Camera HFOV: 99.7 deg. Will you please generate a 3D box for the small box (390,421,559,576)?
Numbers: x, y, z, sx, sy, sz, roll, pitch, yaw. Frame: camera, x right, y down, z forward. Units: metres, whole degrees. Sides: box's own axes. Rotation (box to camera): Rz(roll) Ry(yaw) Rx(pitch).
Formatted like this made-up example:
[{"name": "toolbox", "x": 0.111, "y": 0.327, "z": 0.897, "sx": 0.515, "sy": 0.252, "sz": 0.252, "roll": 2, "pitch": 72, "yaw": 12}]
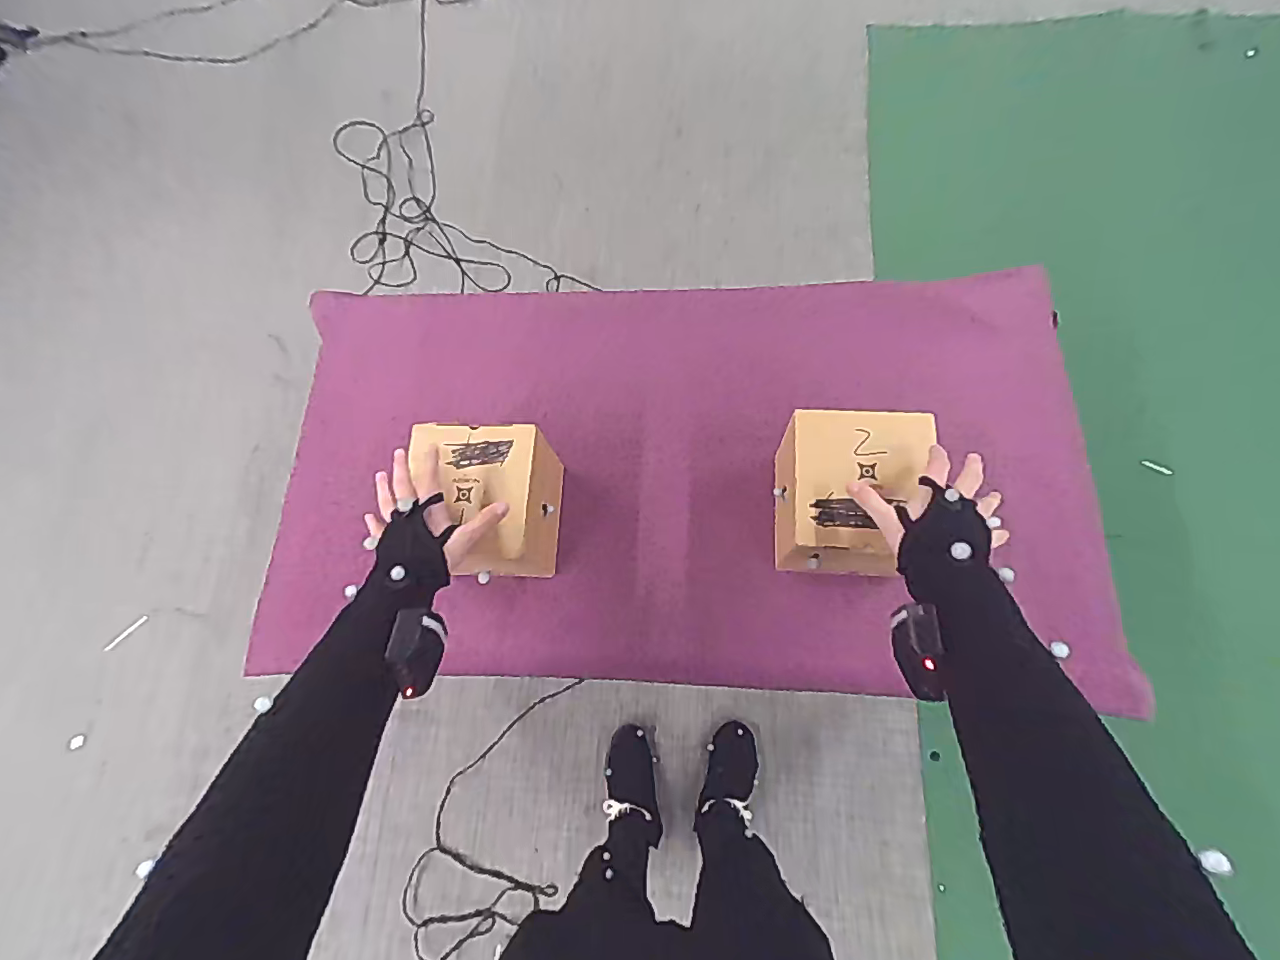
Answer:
[{"name": "small box", "x": -0.214, "y": 0.032, "z": 0.752, "sx": 0.168, "sy": 0.176, "sz": 0.179, "roll": 1, "pitch": 73, "yaw": 5}]
